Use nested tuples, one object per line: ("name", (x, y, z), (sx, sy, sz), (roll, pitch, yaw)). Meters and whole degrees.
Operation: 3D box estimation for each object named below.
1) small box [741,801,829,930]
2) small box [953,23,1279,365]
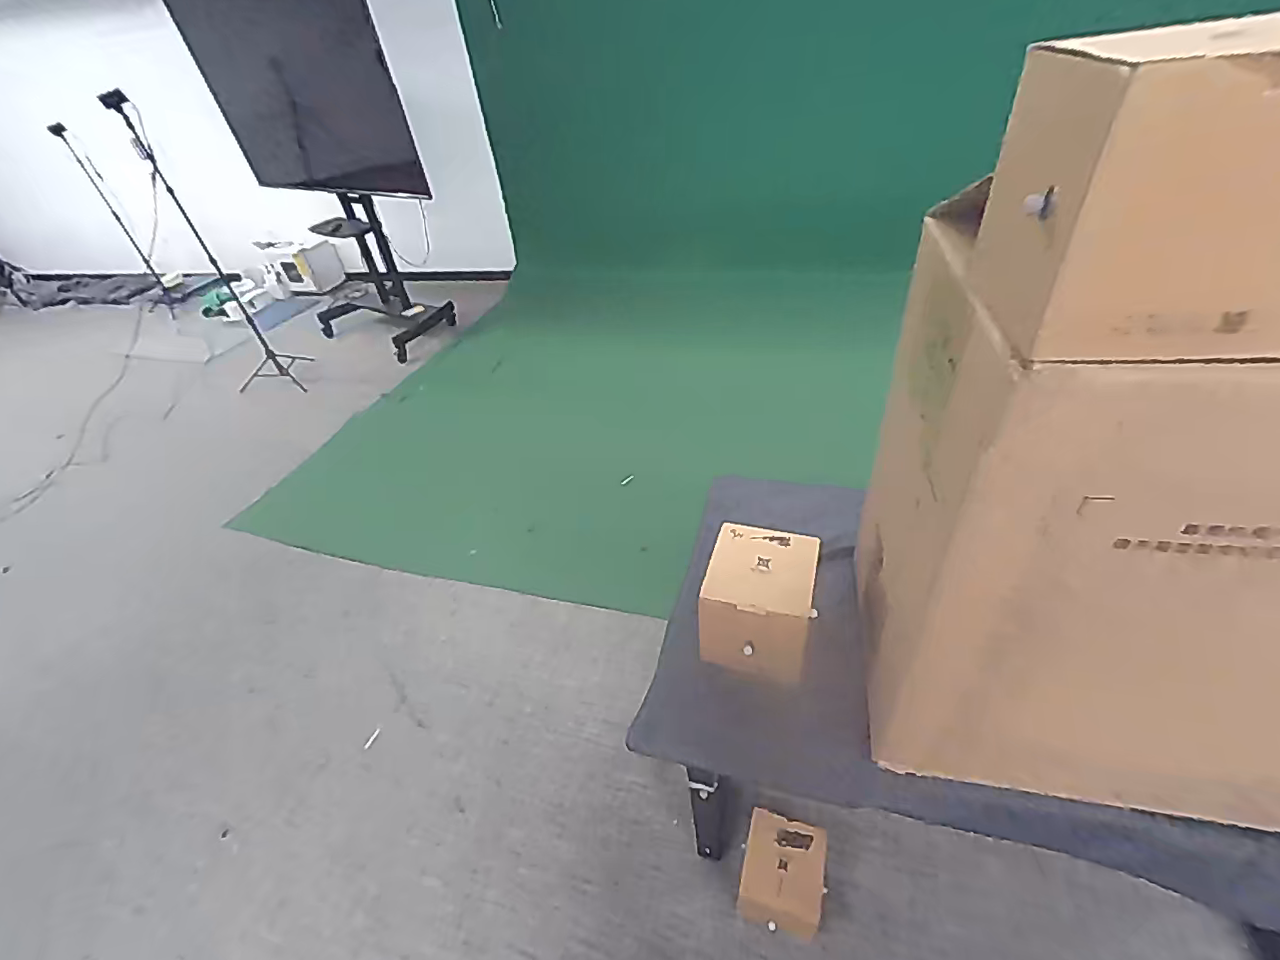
("small box", (0.328, 0.878, 1.232), (0.168, 0.176, 0.179), (8, 44, 20))
("small box", (0.338, -0.190, 0.373), (0.168, 0.176, 0.179), (3, 40, 14))
